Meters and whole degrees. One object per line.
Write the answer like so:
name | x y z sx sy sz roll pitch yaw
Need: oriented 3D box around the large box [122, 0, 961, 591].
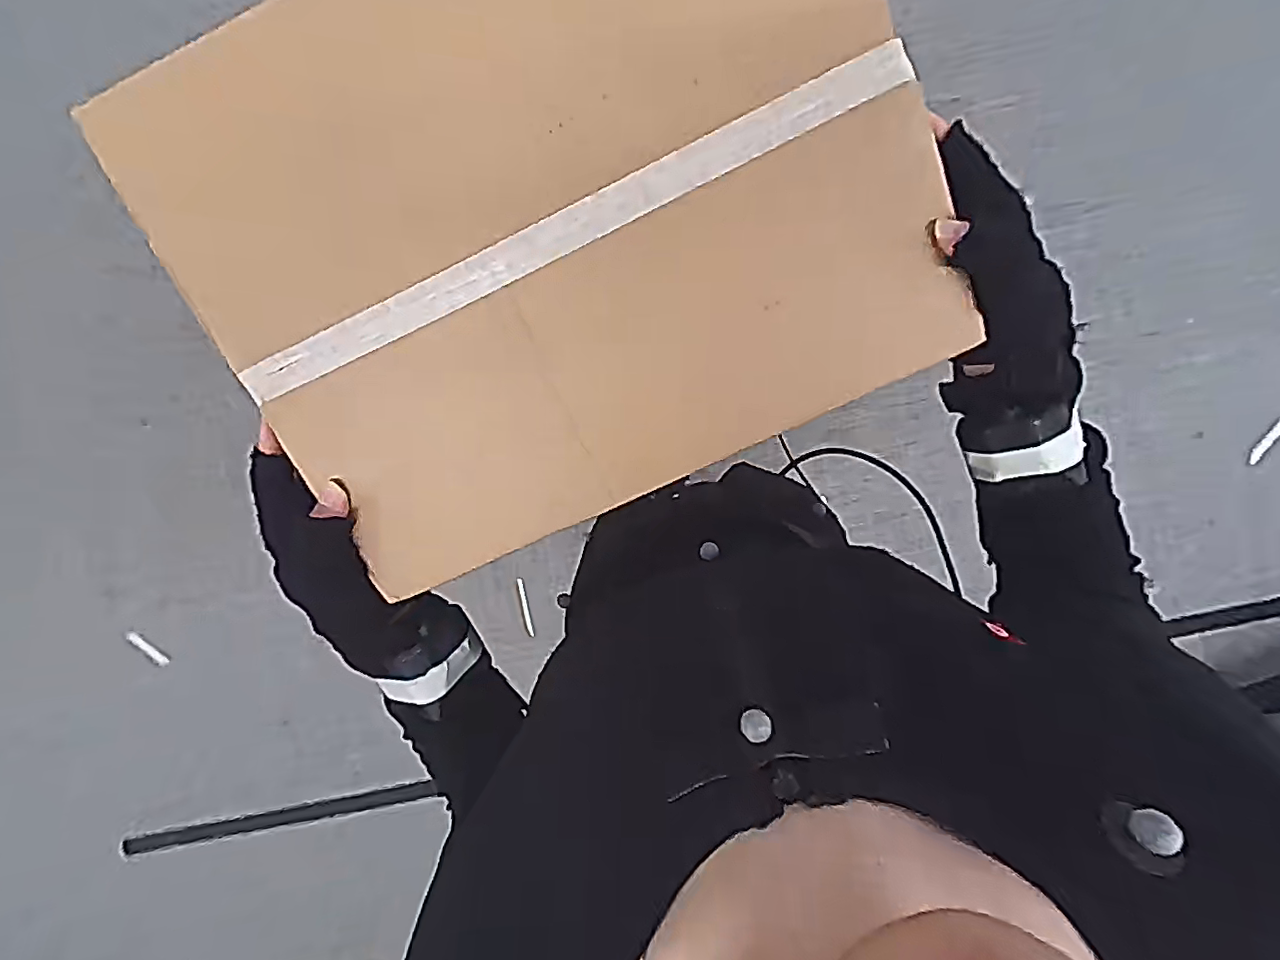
large box | -0.044 -0.176 0.455 0.408 0.320 0.320 -23 104 5
